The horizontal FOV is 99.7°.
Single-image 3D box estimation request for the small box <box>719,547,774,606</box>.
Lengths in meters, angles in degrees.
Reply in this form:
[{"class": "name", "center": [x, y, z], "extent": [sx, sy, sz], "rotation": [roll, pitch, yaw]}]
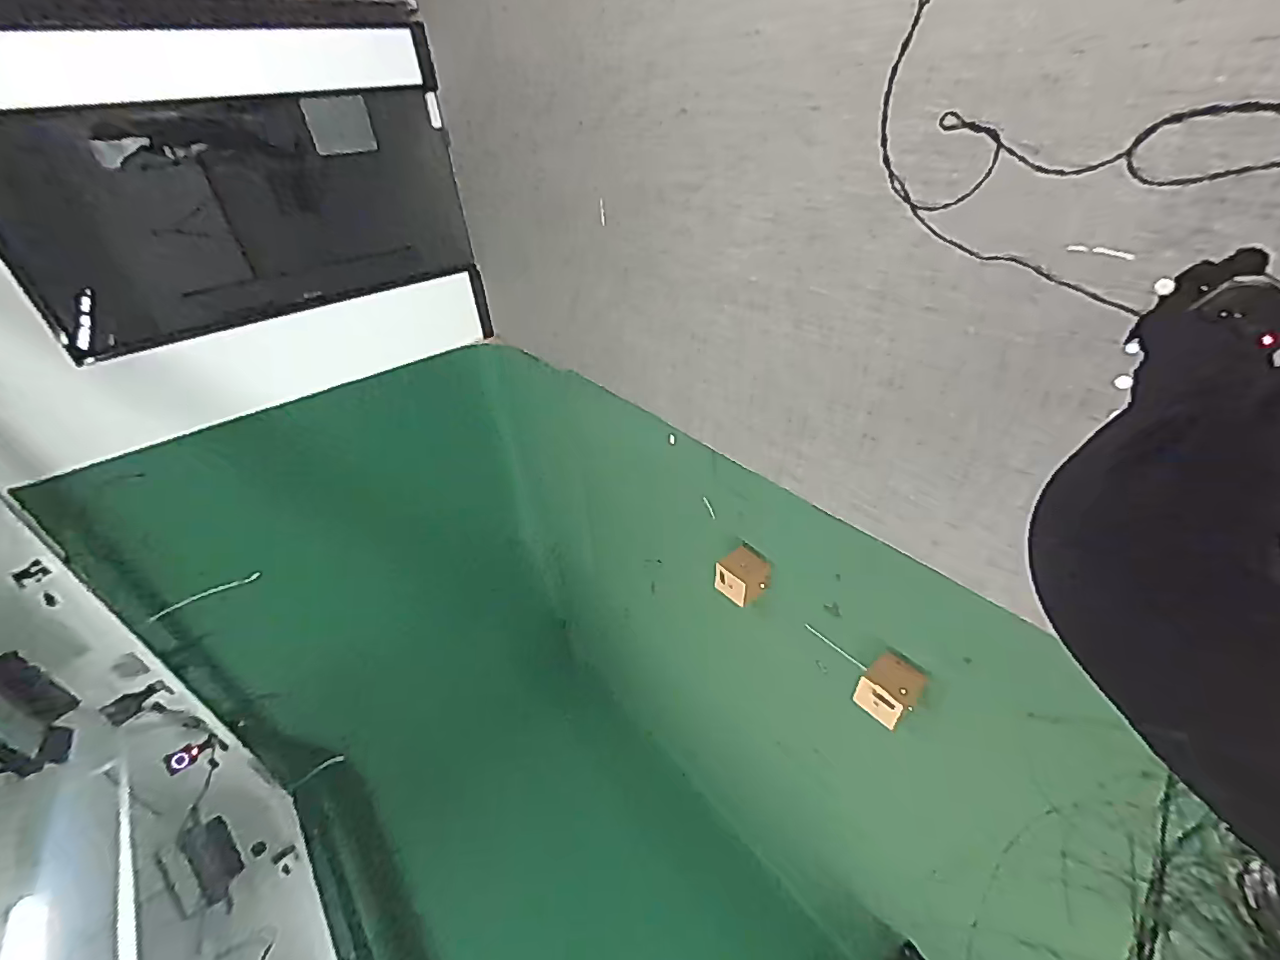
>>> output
[{"class": "small box", "center": [0.487, 0.434, 2.476], "extent": [0.179, 0.176, 0.168], "rotation": [35, 142, 38]}]
